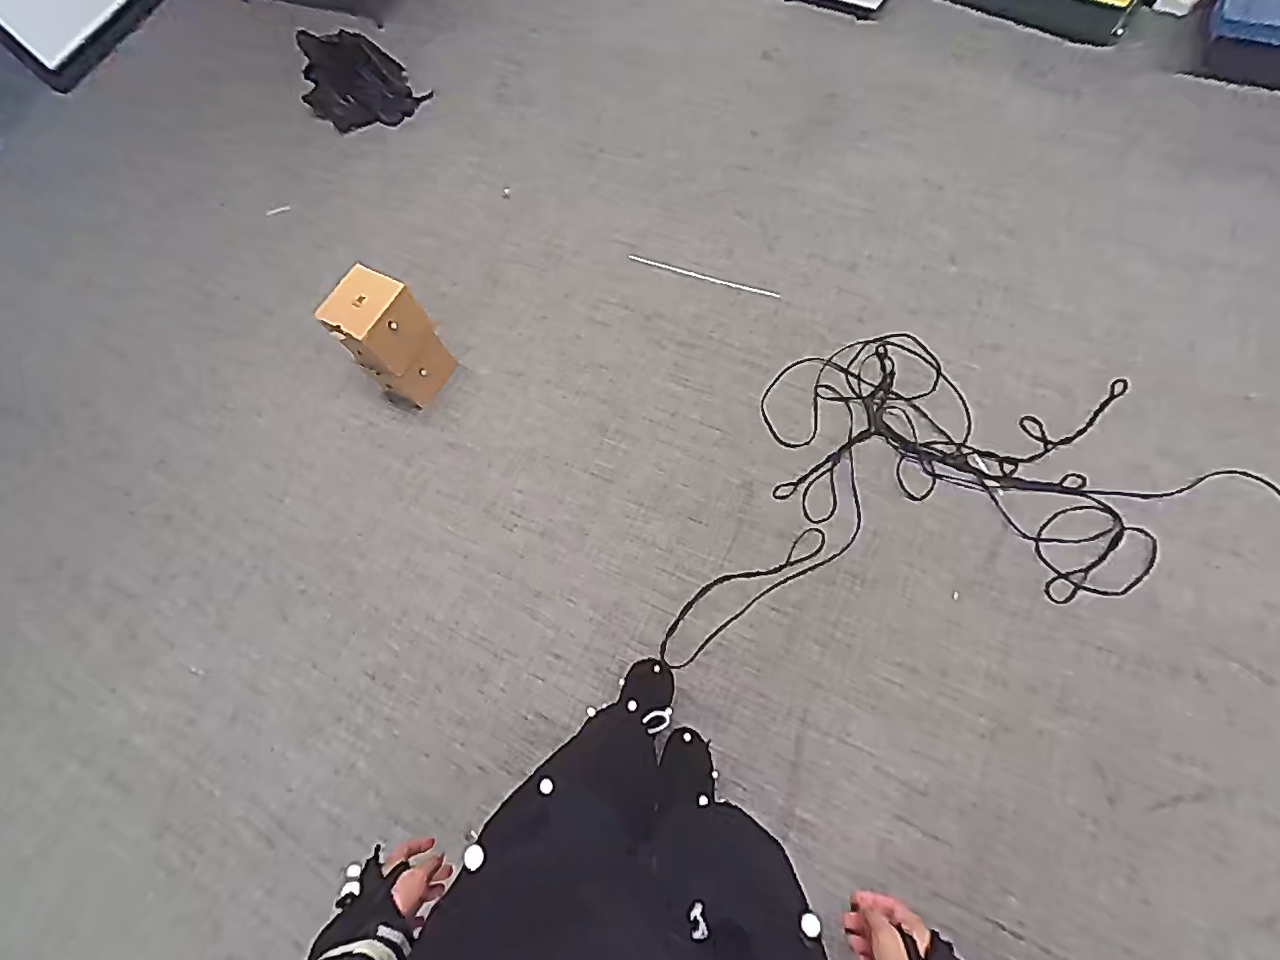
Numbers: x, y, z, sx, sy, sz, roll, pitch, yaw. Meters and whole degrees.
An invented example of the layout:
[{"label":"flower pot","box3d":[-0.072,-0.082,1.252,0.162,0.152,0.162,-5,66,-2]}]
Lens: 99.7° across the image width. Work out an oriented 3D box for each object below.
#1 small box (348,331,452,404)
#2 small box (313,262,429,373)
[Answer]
[{"label":"small box","box3d":[-0.663,-0.342,1.521,0.168,0.176,0.179,26,76,16]},{"label":"small box","box3d":[-0.666,-0.406,1.369,0.168,0.176,0.179,26,75,15]}]
